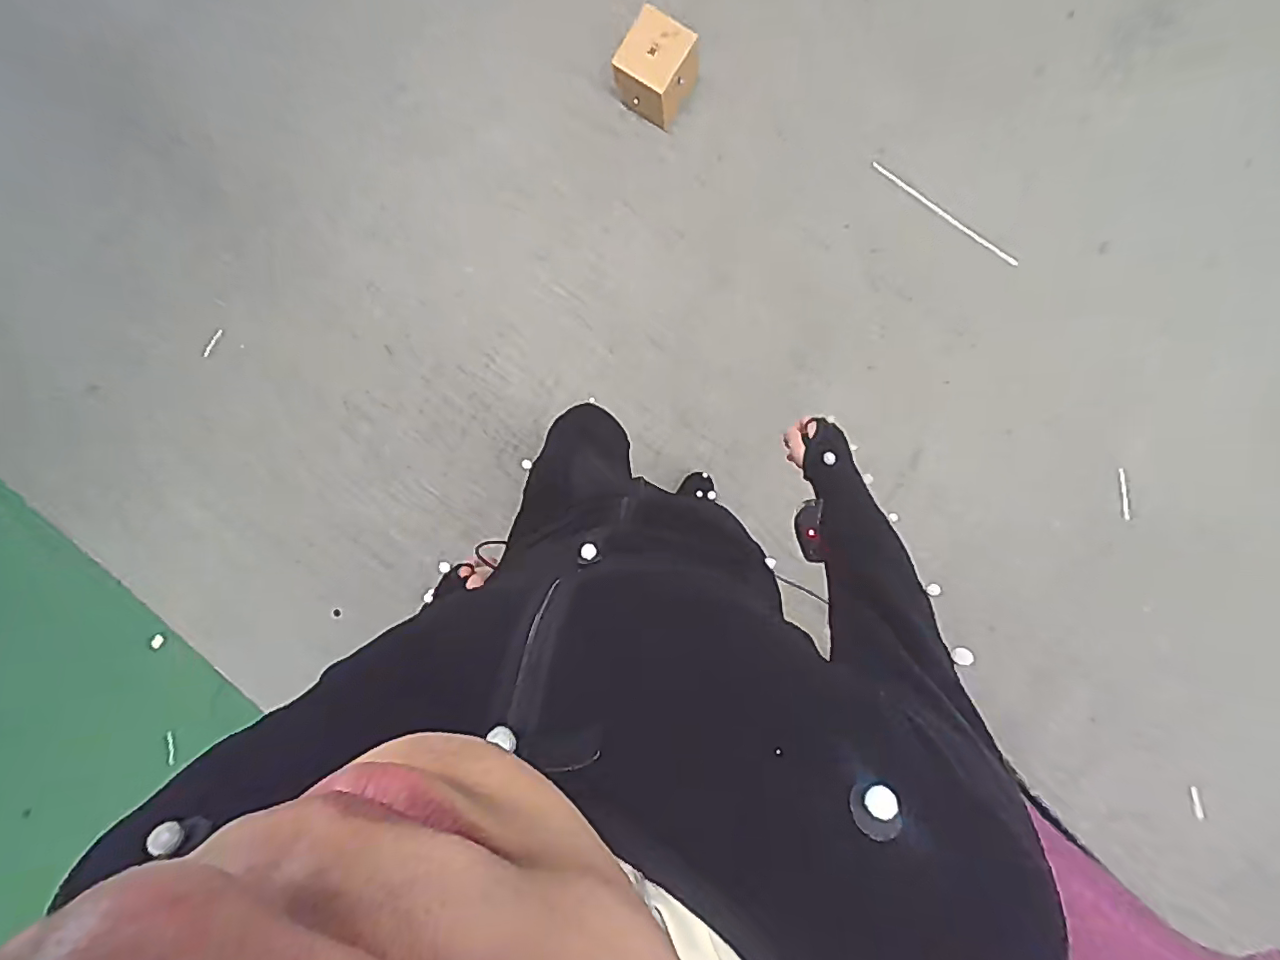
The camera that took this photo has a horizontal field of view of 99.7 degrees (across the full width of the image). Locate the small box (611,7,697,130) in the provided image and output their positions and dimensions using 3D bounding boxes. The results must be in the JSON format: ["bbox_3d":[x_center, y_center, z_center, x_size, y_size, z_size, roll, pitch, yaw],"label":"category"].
[{"bbox_3d":[0.047,-1.121,1.489,0.168,0.176,0.179,35,96,3],"label":"small box"}]
